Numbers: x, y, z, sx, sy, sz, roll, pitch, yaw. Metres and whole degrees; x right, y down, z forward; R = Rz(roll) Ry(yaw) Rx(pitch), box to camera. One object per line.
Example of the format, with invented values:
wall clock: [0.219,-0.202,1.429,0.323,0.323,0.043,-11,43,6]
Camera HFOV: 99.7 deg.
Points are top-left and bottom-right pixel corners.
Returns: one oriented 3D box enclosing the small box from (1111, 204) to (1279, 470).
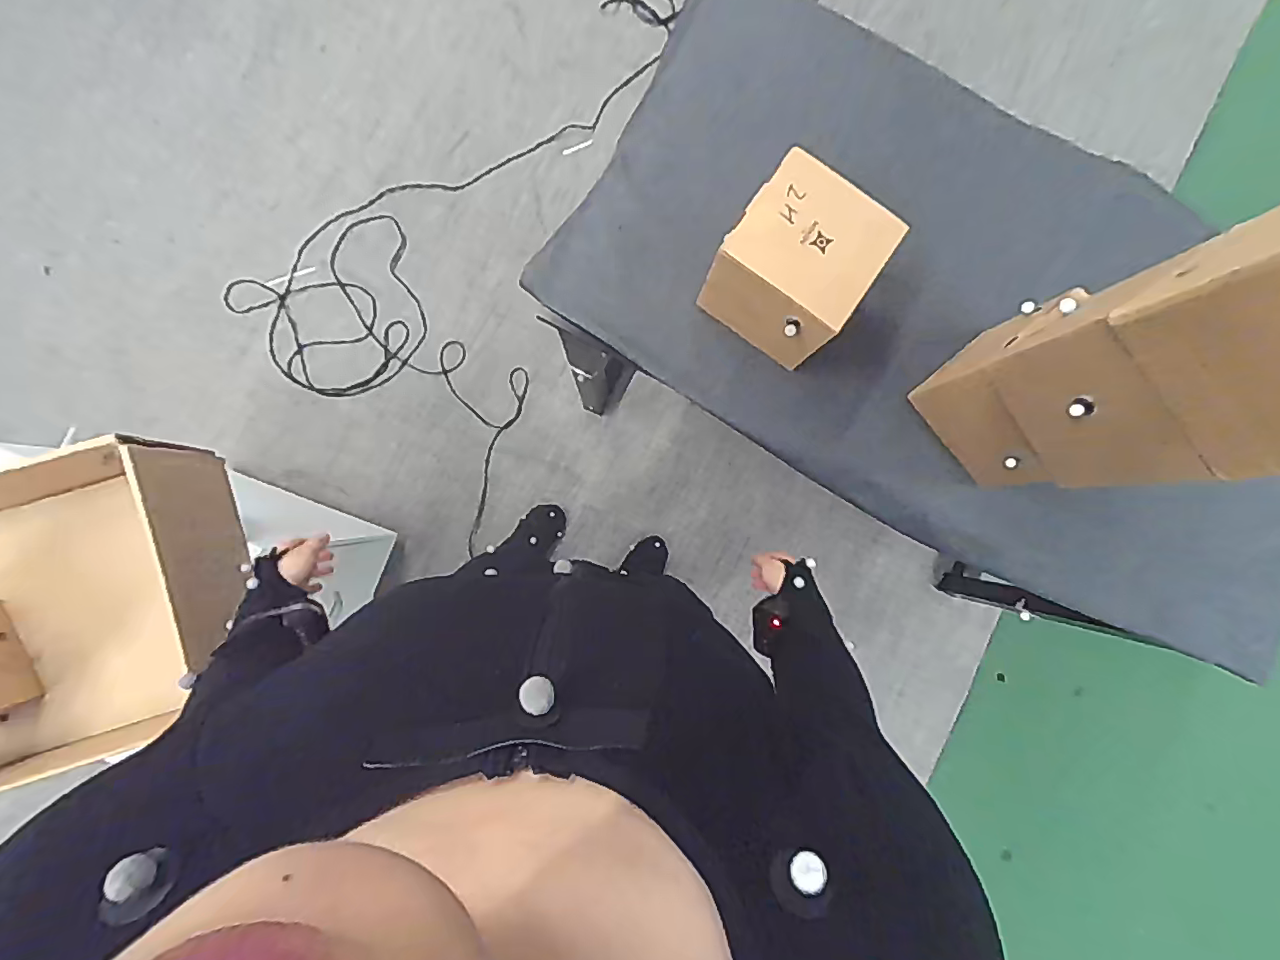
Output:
small box: [0.522,-0.124,0.401,0.168,0.176,0.179,-34,89,-5]

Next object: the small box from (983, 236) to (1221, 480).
small box: [0.515,-0.112,0.563,0.168,0.176,0.179,-31,88,-5]

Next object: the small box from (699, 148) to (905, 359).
small box: [0.202,-0.283,0.725,0.179,0.176,0.168,35,84,0]
